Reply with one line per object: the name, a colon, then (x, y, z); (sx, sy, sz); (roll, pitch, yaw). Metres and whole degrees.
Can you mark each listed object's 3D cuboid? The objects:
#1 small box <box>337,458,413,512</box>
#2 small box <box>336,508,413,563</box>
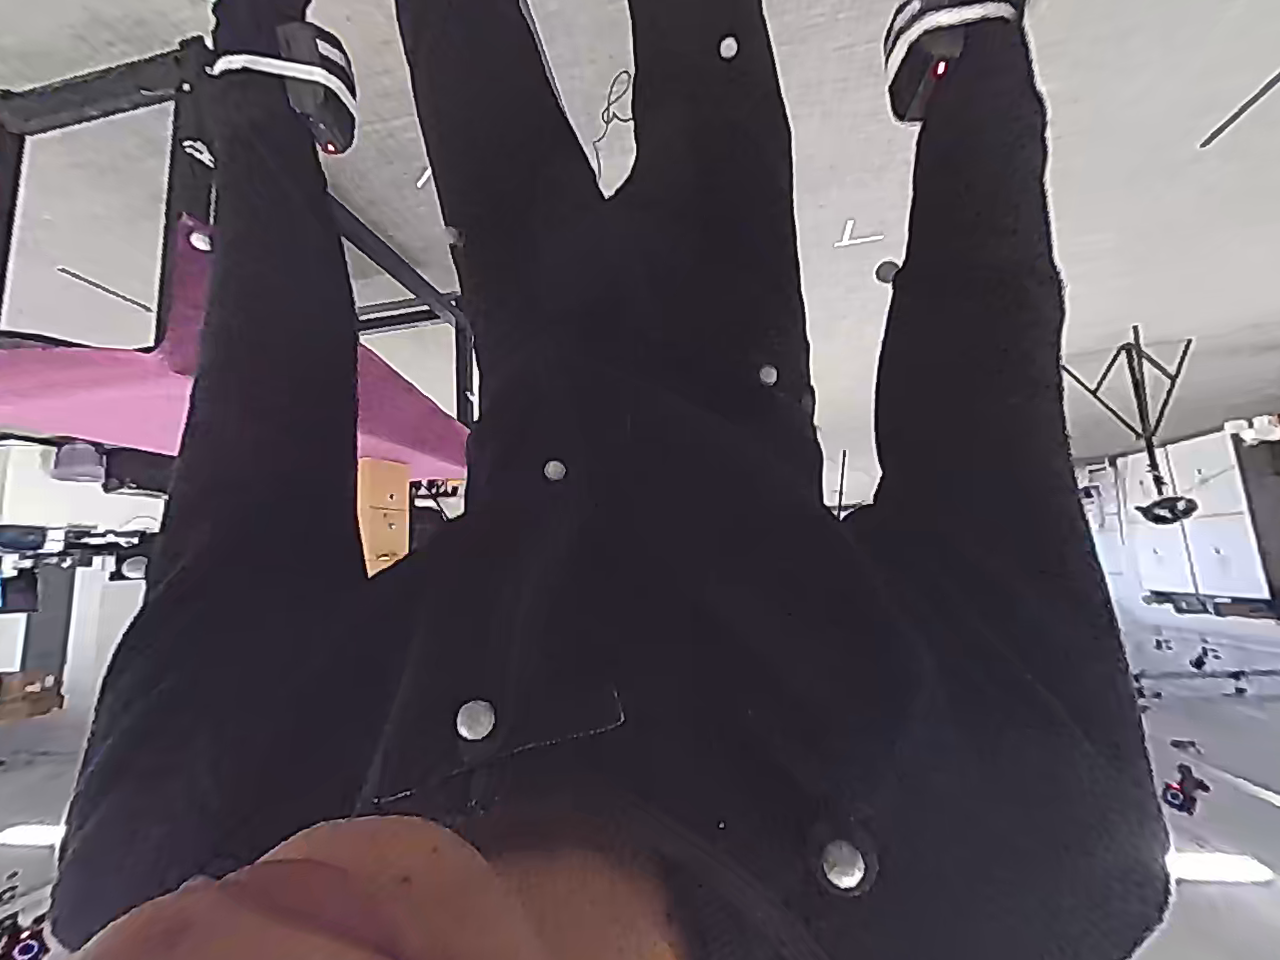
small box: (-0.892, 0.024, 1.831); (0.168, 0.176, 0.179); (-7, 170, 20)
small box: (-0.885, 0.188, 1.815); (0.179, 0.176, 0.168); (-7, 171, 21)
